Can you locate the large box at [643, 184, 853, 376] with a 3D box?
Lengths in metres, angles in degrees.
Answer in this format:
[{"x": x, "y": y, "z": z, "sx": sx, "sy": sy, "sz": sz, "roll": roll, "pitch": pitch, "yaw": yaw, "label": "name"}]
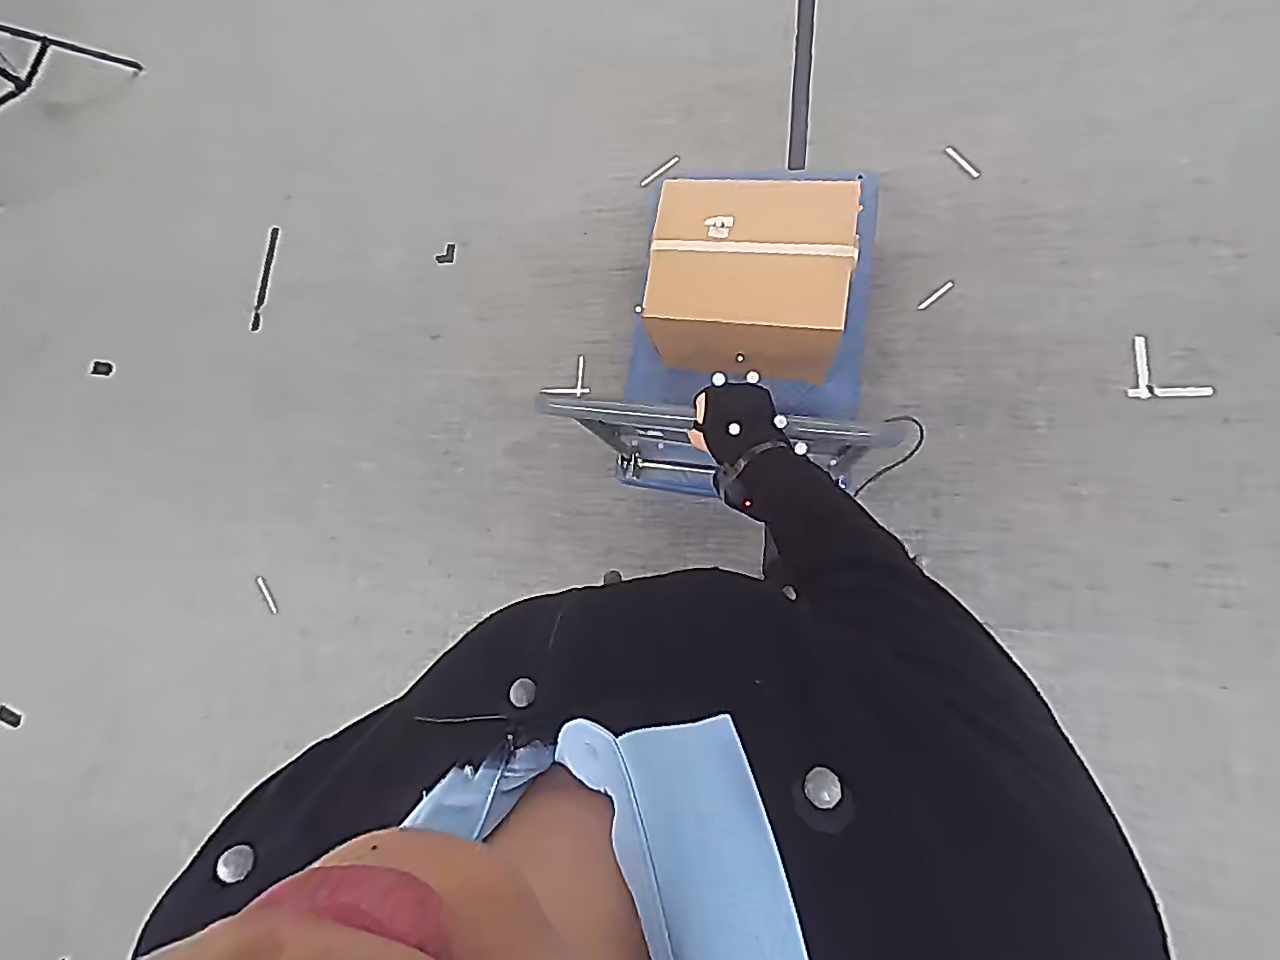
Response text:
[{"x": 0.251, "y": -0.444, "z": 1.256, "sx": 0.408, "sy": 0.320, "sz": 0.320, "roll": 7, "pitch": 82, "yaw": 14, "label": "large box"}]
